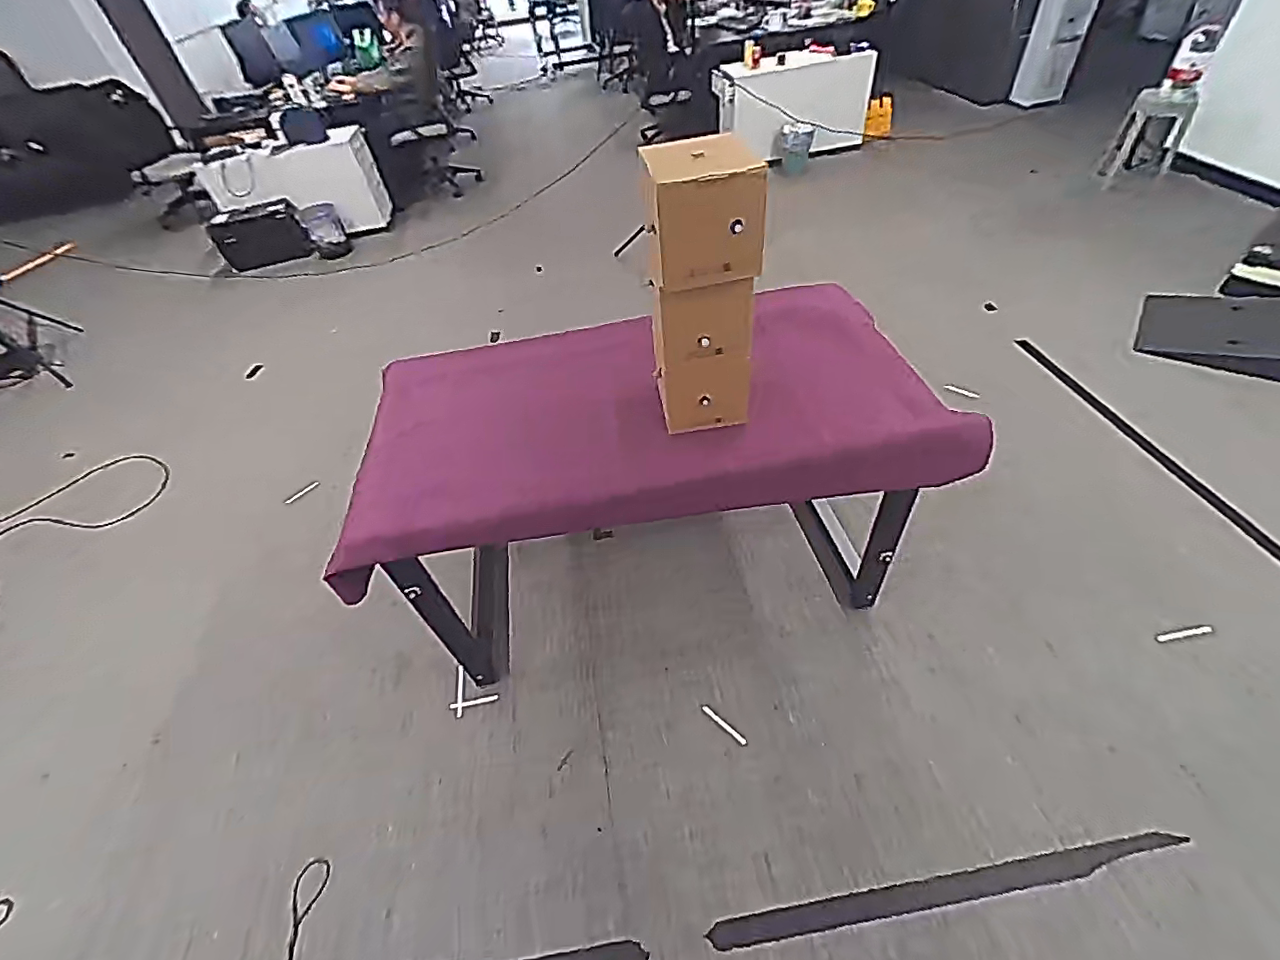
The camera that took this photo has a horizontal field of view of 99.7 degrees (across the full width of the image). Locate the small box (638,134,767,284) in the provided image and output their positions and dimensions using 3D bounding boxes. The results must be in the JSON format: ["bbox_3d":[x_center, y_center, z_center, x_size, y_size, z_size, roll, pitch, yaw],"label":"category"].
[{"bbox_3d":[0.098,-0.431,0.876,0.168,0.176,0.179,-11,46,-3],"label":"small box"}]

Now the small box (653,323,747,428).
[{"bbox_3d":[0.123,-0.222,1.127,0.168,0.176,0.179,-8,46,0],"label":"small box"}]

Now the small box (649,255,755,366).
[{"bbox_3d":[0.109,-0.337,1.010,0.168,0.176,0.179,-9,47,0],"label":"small box"}]
